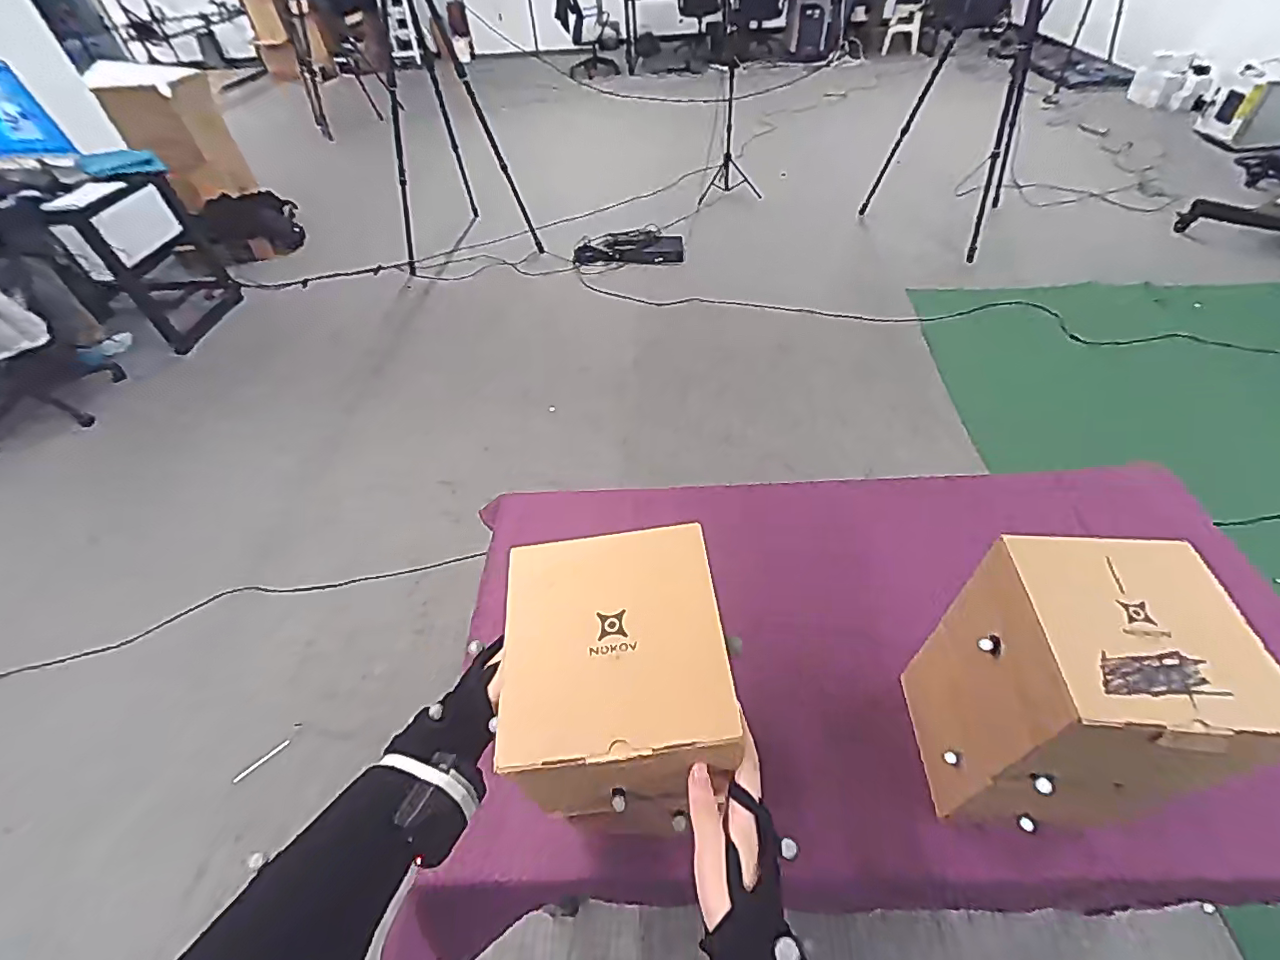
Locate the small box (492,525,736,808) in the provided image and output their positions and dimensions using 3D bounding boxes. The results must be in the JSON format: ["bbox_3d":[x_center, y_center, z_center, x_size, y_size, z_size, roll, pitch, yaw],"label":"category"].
[{"bbox_3d":[-0.017,0.165,0.471,0.168,0.176,0.179,-8,51,1],"label":"small box"}]

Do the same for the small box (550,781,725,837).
[{"bbox_3d":[0.005,0.311,0.644,0.179,0.176,0.168,-1,46,5],"label":"small box"}]

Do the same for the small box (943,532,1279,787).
[{"bbox_3d":[0.415,0.169,0.507,0.168,0.176,0.179,1,47,7],"label":"small box"}]
